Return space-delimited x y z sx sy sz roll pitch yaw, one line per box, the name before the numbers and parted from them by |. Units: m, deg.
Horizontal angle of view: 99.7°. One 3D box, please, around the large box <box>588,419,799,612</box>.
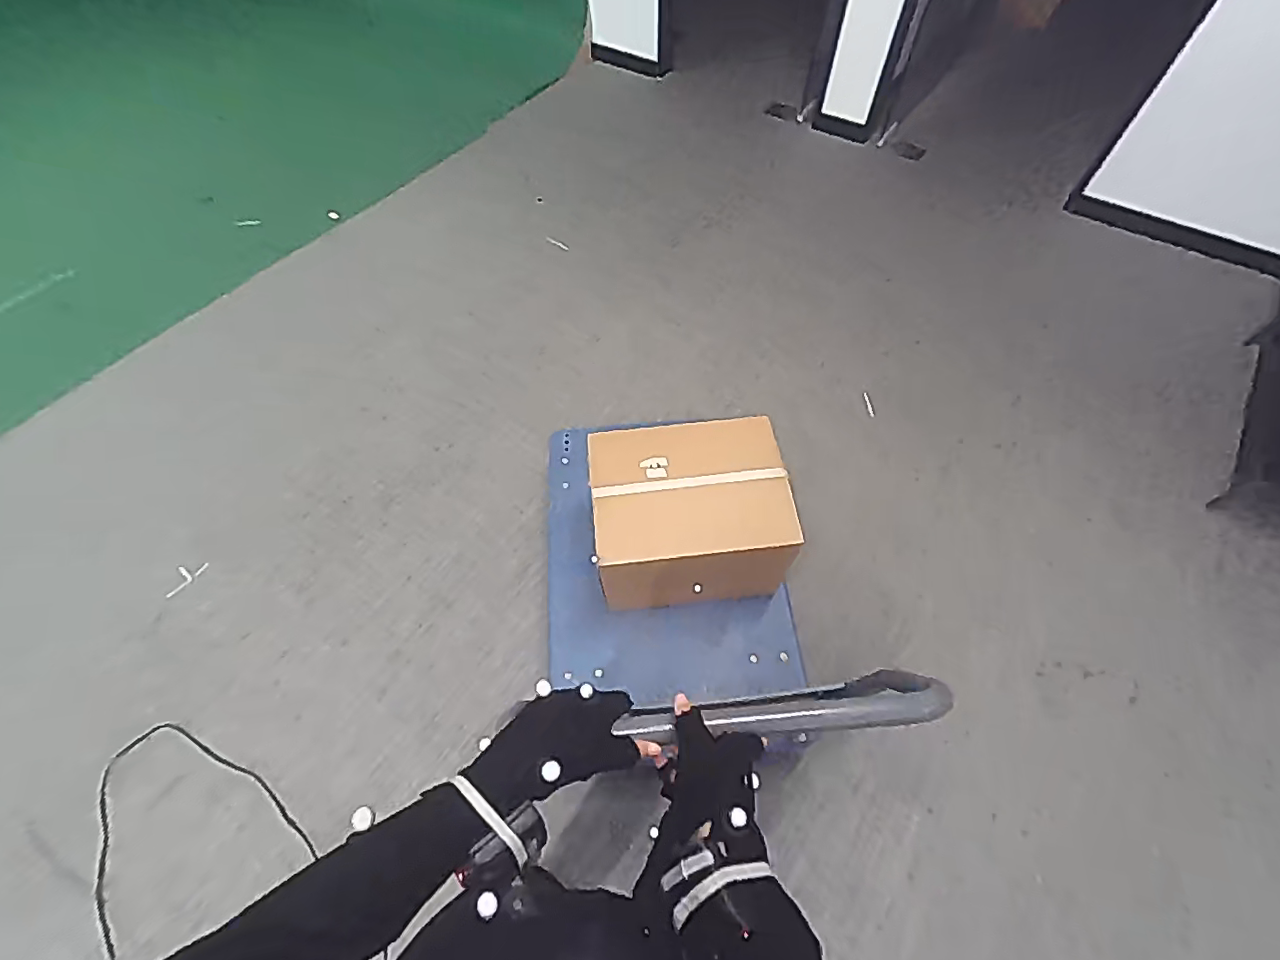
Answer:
large box | 0.107 0.094 1.257 0.408 0.320 0.320 -7 59 -1
